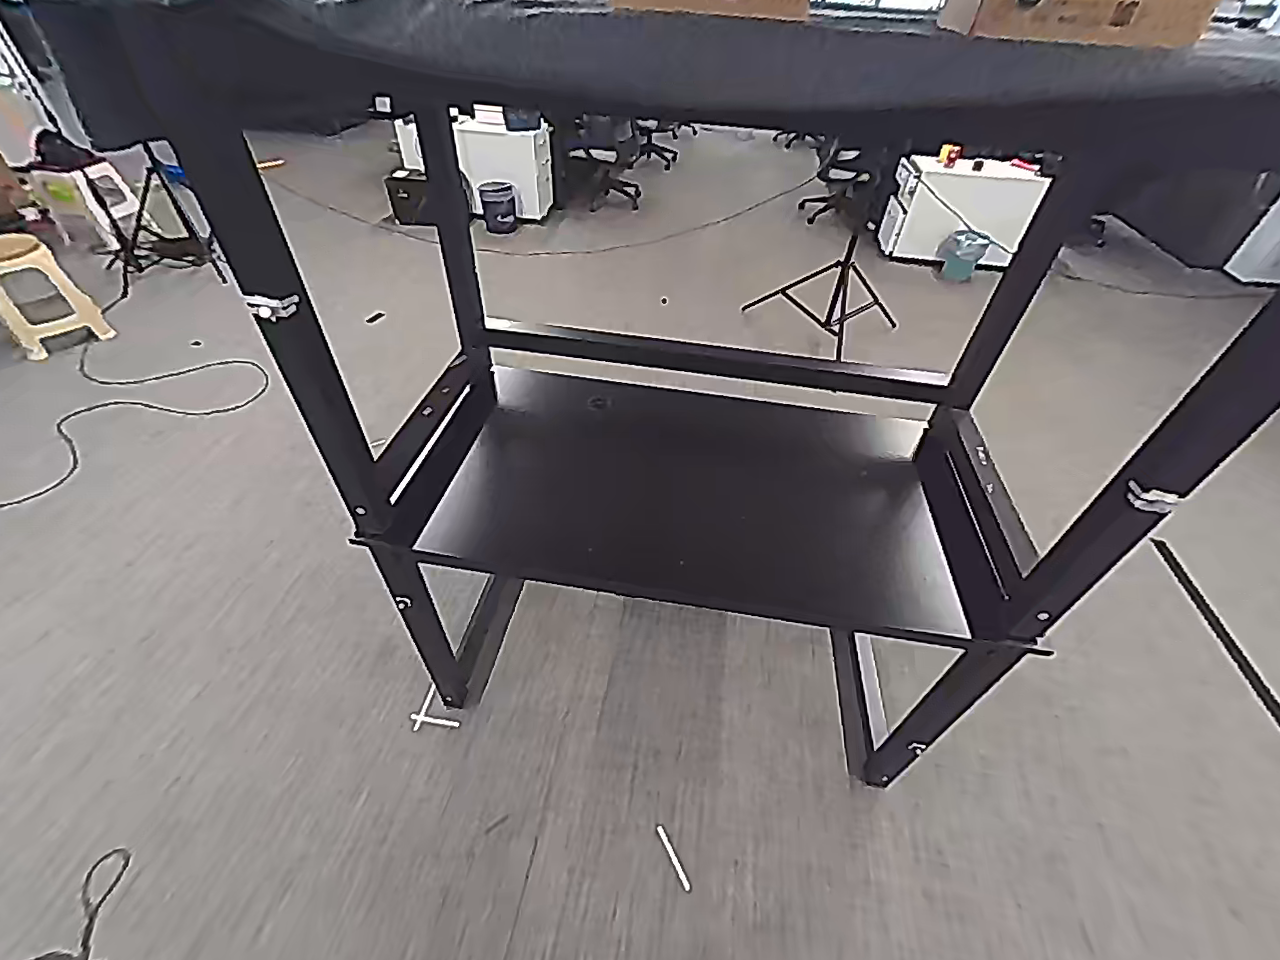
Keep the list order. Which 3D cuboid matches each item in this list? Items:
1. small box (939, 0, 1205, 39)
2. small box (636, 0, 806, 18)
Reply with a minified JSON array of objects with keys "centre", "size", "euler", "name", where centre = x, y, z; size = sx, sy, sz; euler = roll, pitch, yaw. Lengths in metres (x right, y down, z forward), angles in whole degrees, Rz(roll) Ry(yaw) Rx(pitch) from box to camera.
[{"centre":[0.369,-0.469,0.435],"size":[0.168,0.176,0.179],"euler":[11,42,8],"name":"small box"},{"centre":[0.074,-0.509,0.456],"size":[0.168,0.176,0.179],"euler":[9,41,6],"name":"small box"}]
